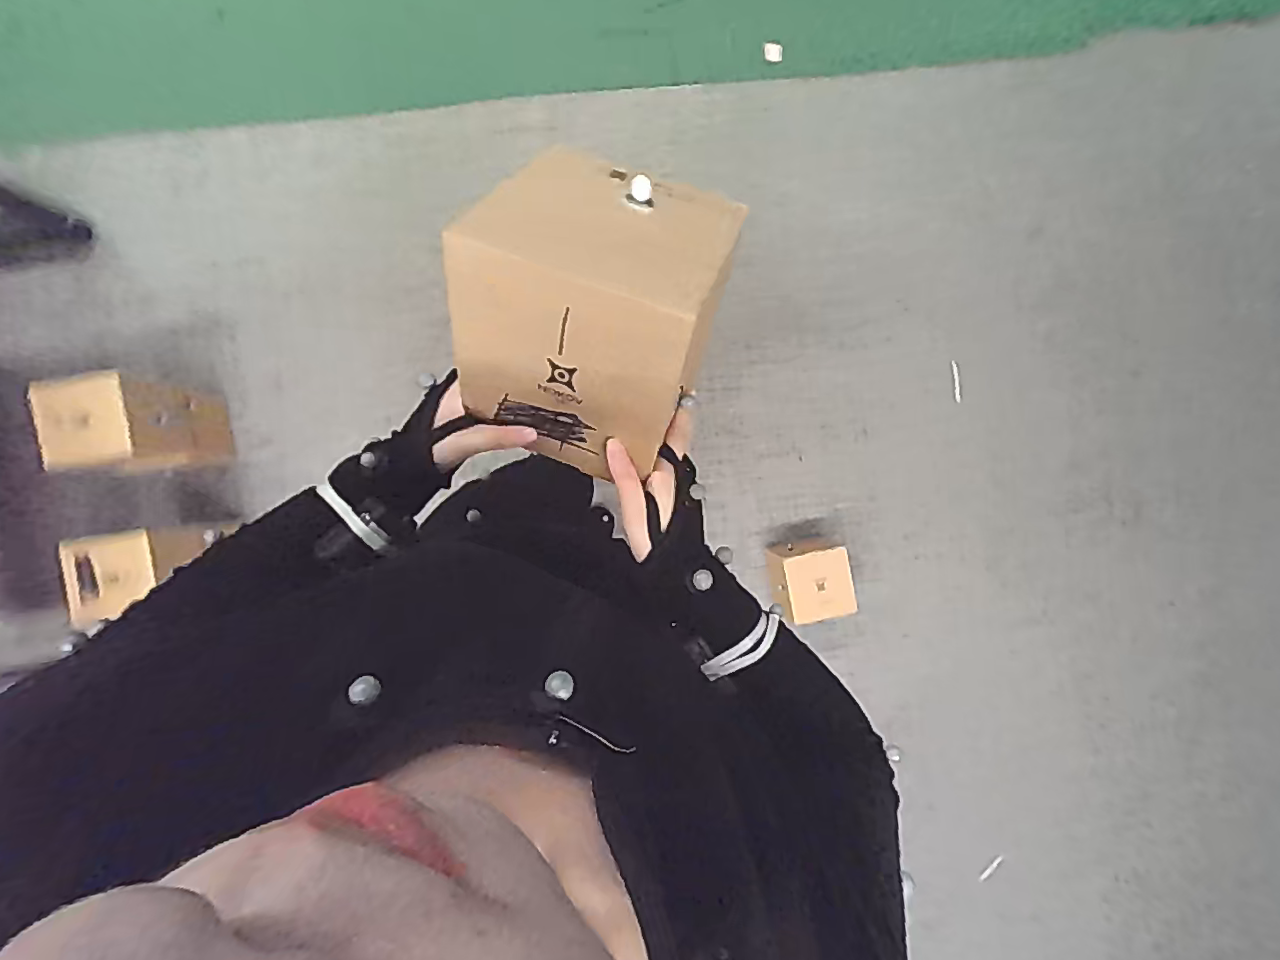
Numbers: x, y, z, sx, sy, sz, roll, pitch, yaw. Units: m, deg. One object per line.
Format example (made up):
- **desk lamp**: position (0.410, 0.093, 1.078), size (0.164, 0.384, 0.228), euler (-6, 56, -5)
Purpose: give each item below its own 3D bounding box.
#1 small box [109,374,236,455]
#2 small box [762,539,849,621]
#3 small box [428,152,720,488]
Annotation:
- **small box**: position (-1.154, -0.159, 1.351), size (0.168, 0.176, 0.179), euler (-8, 93, -3)
- **small box**: position (0.435, 0.258, 1.447), size (0.168, 0.176, 0.179), euler (-9, 93, -2)
- **small box**: position (-0.046, -0.130, 0.446), size (0.168, 0.179, 0.176), euler (21, 51, 4)
